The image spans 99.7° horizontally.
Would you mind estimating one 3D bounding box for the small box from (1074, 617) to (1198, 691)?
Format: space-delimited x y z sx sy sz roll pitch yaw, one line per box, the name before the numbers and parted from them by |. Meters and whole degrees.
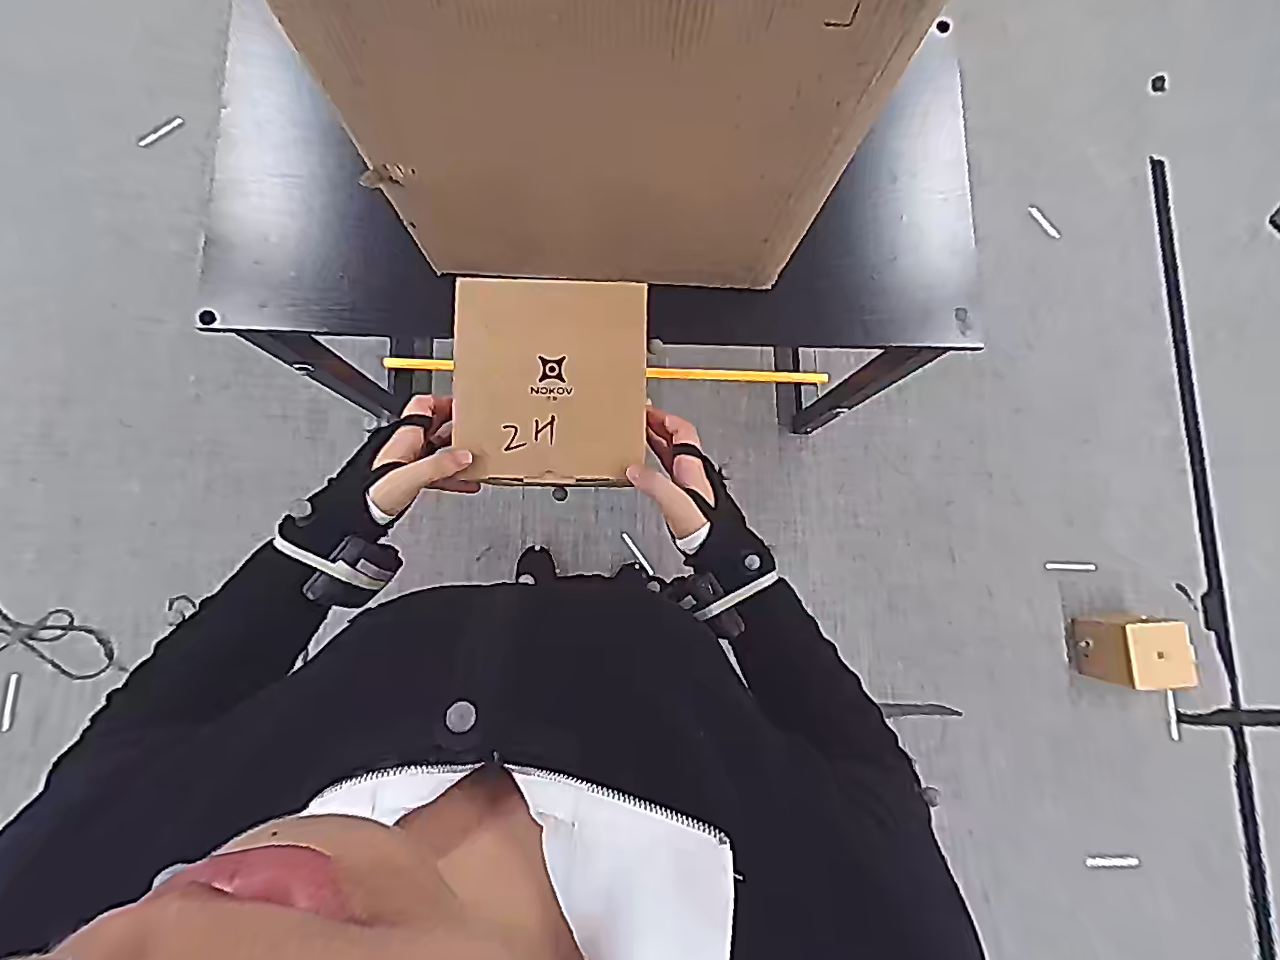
small box | 1.343 0.468 1.475 0.179 0.176 0.168 -3 81 -3
